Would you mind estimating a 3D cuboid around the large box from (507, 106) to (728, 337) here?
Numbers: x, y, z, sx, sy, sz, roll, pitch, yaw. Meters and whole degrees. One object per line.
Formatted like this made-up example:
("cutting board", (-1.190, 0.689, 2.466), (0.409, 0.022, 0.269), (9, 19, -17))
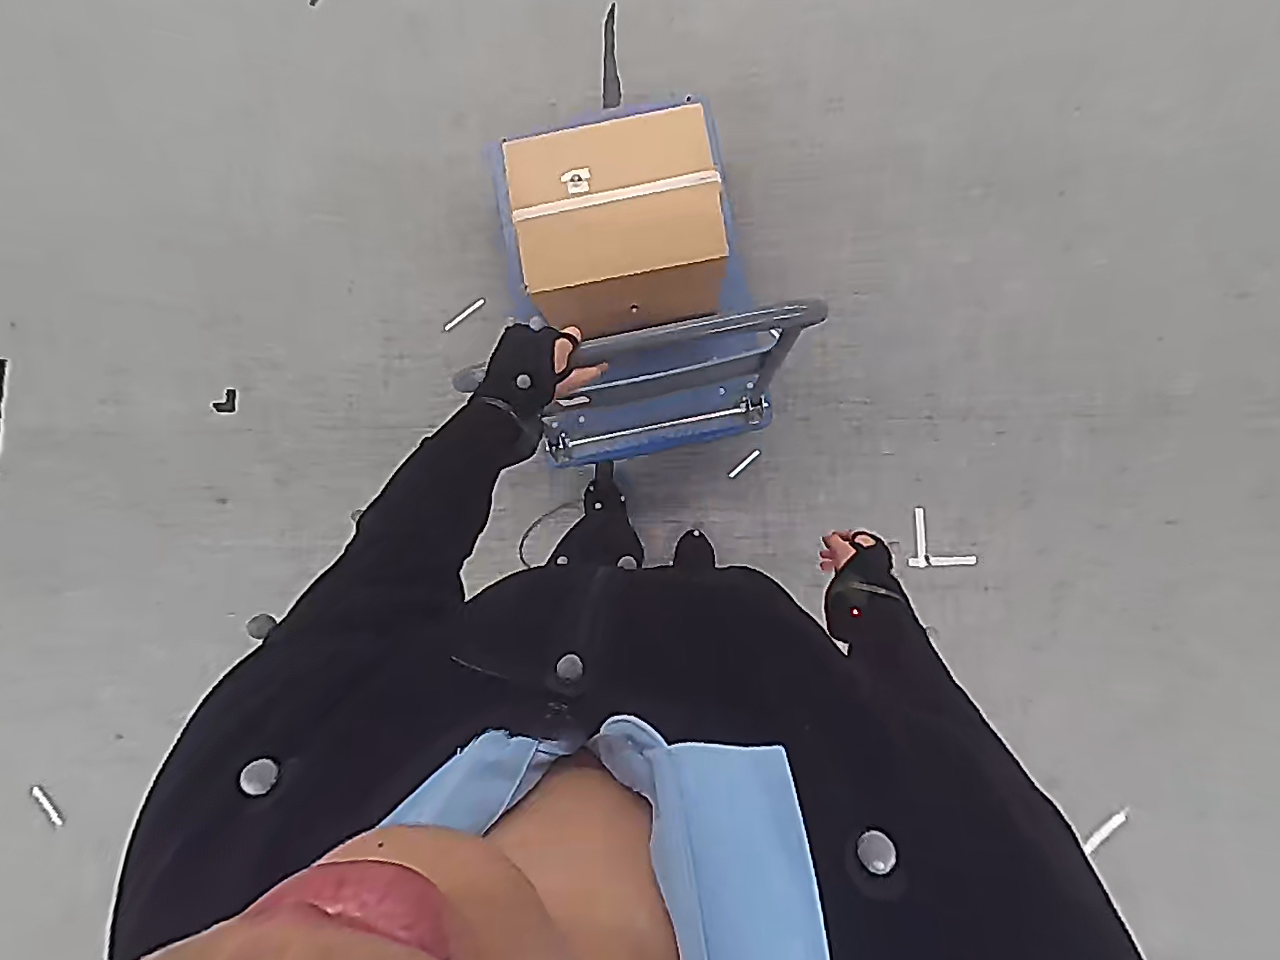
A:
("large box", (-0.036, -0.546, 1.217), (0.408, 0.320, 0.320), (-10, 86, 4))
